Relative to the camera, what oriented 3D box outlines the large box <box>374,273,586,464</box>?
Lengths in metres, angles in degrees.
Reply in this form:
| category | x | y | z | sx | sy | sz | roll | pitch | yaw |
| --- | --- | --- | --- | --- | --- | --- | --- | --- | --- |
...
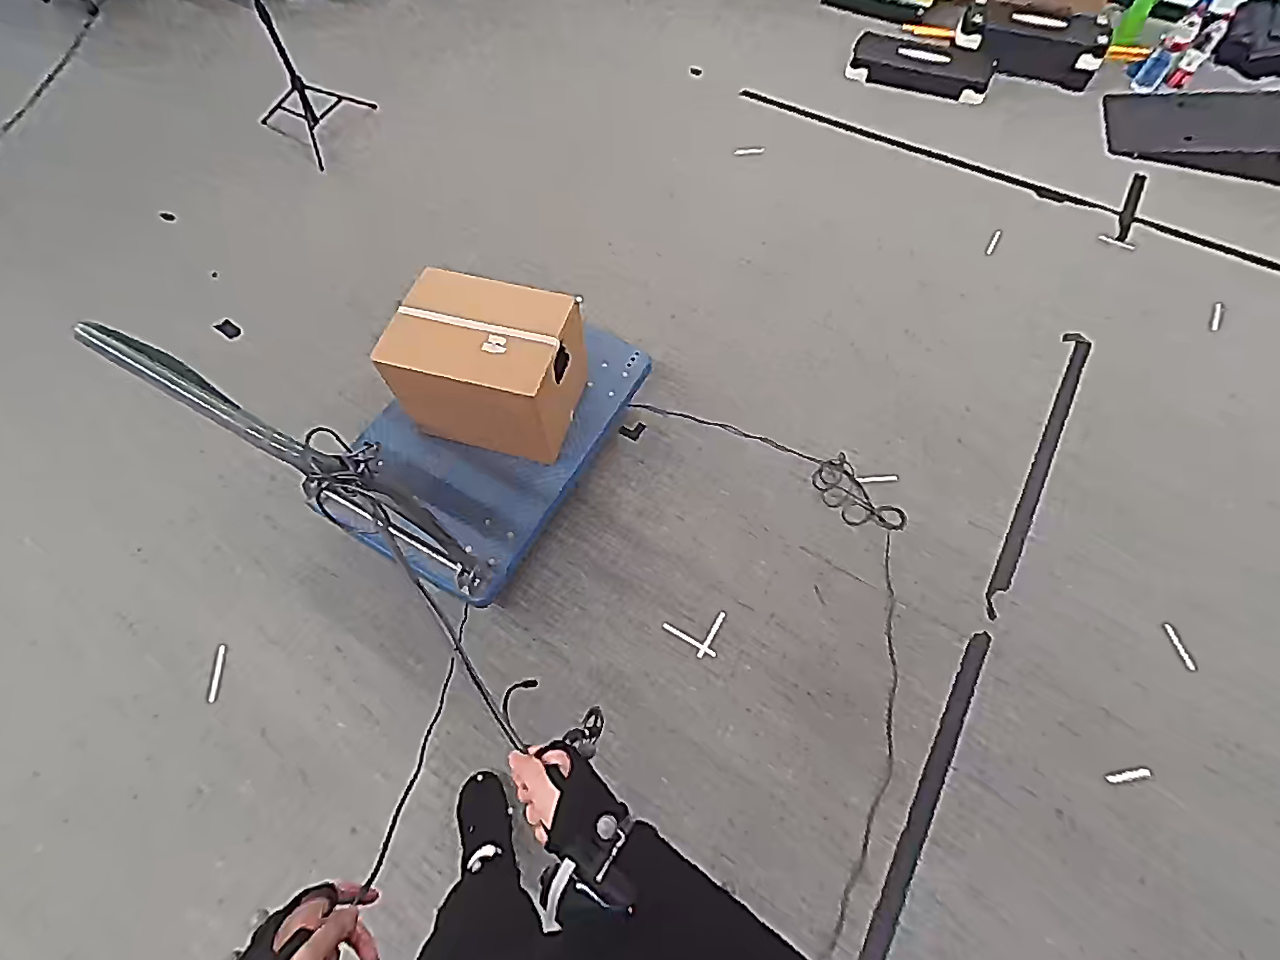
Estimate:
| category | x | y | z | sx | sy | sz | roll | pitch | yaw |
| --- | --- | --- | --- | --- | --- | --- | --- | --- | --- |
| large box | -0.381 | -0.281 | 1.404 | 0.408 | 0.320 | 0.320 | 14 | 63 | 6 |
